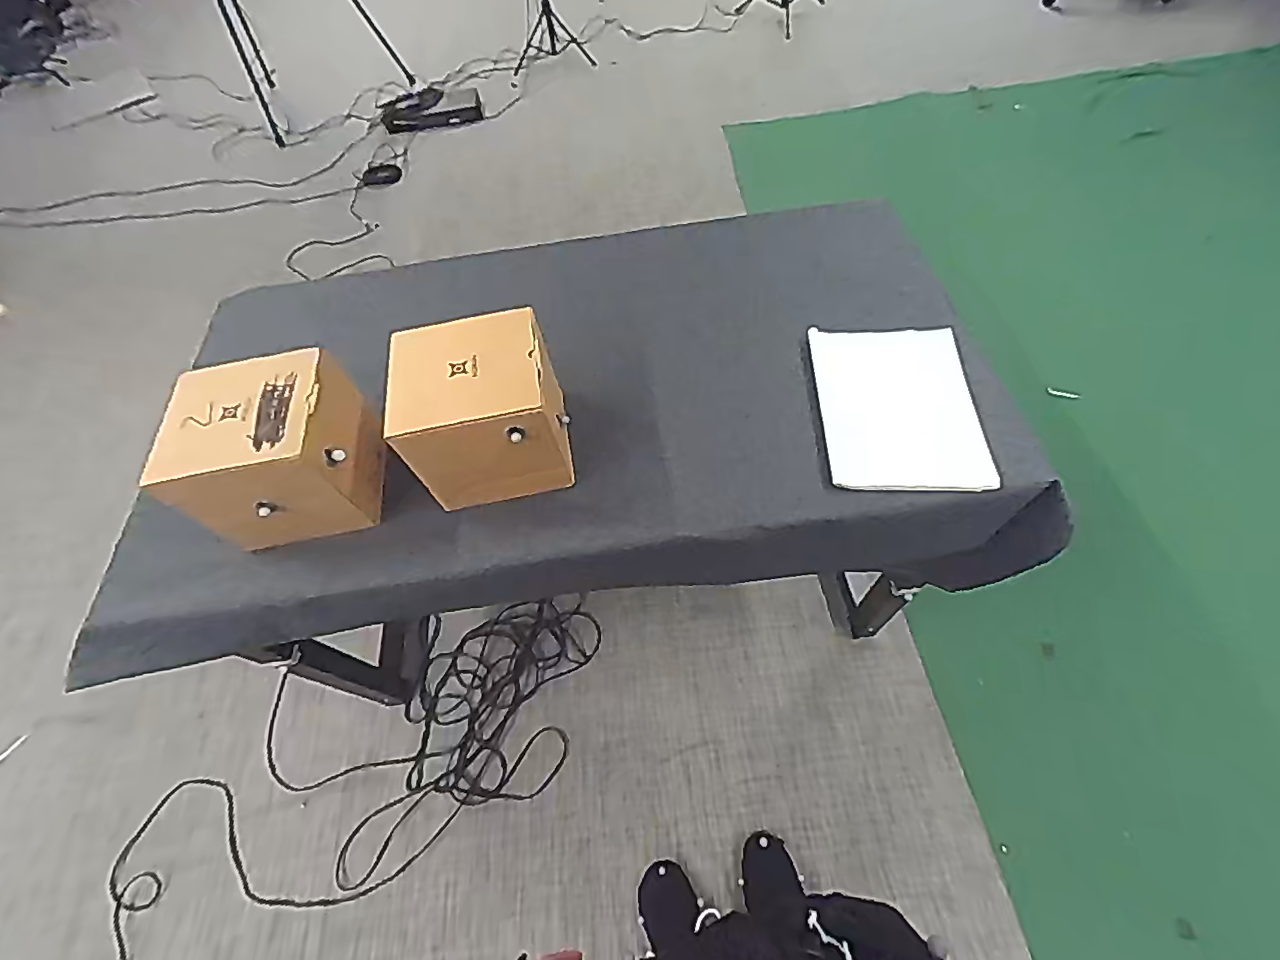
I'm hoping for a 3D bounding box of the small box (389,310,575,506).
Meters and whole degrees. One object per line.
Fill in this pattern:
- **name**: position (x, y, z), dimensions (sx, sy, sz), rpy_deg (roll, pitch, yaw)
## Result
- **small box**: position (-0.191, -0.084, 0.690), dimensions (0.179, 0.176, 0.168), rpy_deg (-12, 58, -2)
